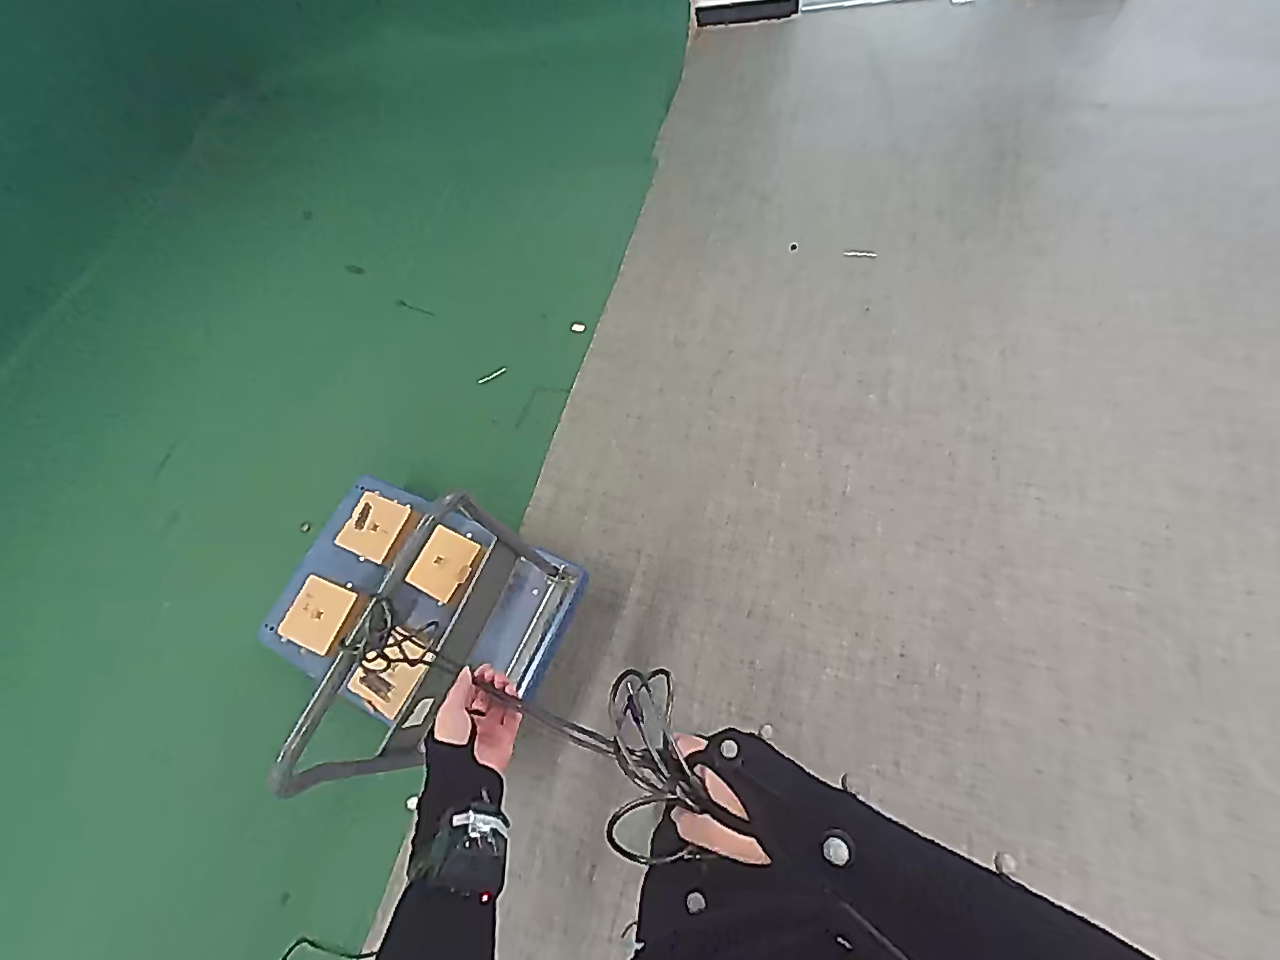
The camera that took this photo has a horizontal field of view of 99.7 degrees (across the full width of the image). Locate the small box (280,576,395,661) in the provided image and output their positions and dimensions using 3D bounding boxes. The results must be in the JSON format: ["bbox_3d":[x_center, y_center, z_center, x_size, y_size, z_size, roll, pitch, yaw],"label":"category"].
[{"bbox_3d":[-0.812,0.381,1.470,0.179,0.176,0.168,16,71,20],"label":"small box"}]

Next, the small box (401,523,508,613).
[{"bbox_3d":[-0.491,0.242,1.453,0.179,0.176,0.168,22,73,21],"label":"small box"}]

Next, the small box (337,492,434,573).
[{"bbox_3d":[-0.704,0.160,1.541,0.179,0.176,0.168,18,73,20],"label":"small box"}]
